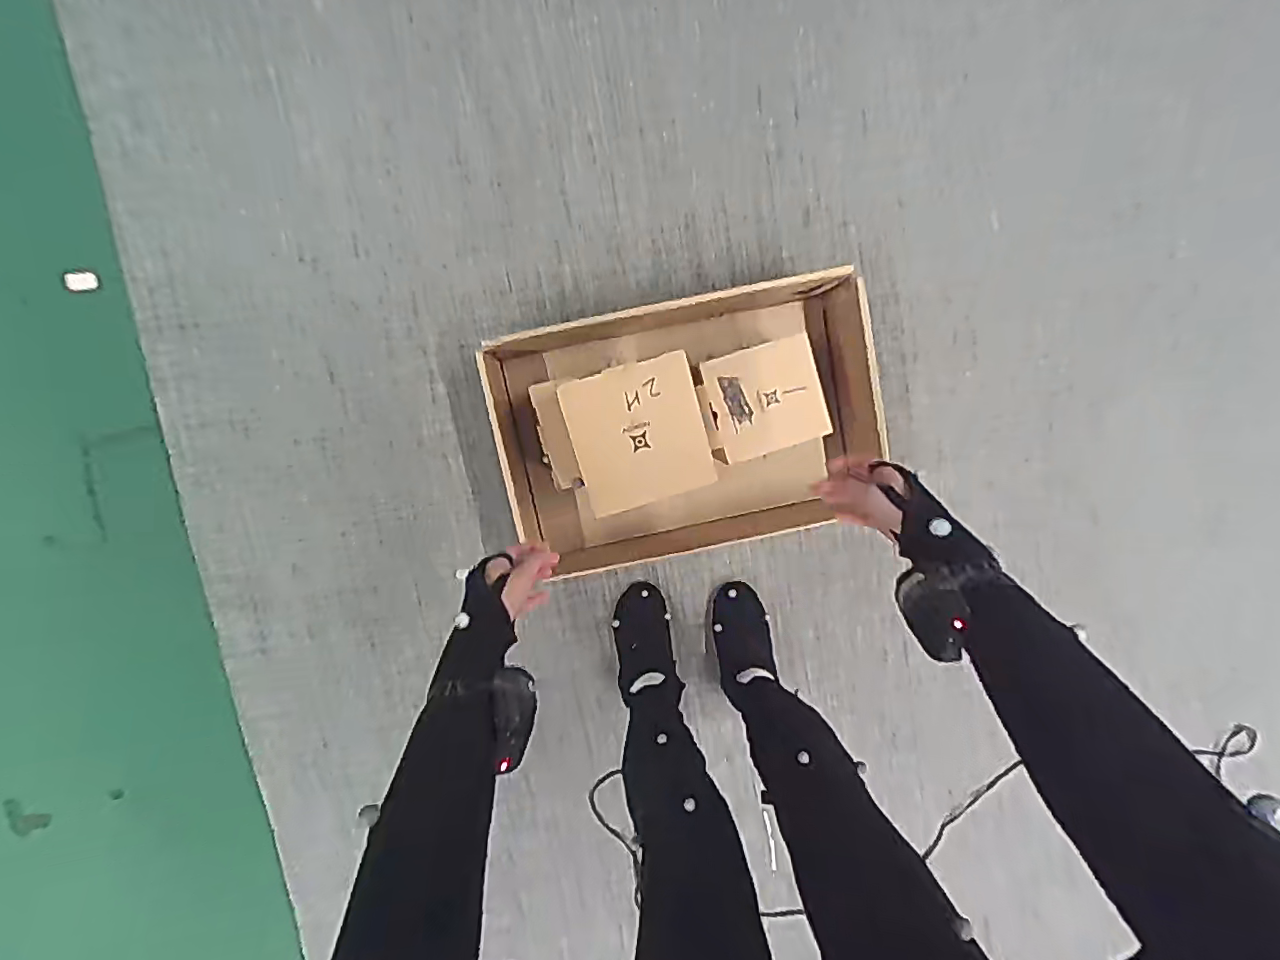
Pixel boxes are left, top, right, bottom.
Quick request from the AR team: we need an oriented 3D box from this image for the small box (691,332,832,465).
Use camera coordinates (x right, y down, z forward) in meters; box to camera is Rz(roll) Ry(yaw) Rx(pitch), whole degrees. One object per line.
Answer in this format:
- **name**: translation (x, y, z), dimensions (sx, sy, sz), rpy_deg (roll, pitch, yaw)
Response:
- **small box**: translation (0.190, -0.132, 0.909), dimensions (0.179, 0.176, 0.168), rpy_deg (-19, 98, 0)

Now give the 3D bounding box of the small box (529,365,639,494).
- **small box**: translation (-0.069, -0.085, 0.904), dimensions (0.179, 0.176, 0.168), rpy_deg (-16, 99, -2)

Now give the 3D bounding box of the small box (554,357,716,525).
- **small box**: translation (-0.009, -0.058, 0.746), dimensions (0.168, 0.176, 0.179), rpy_deg (-17, 99, -3)
